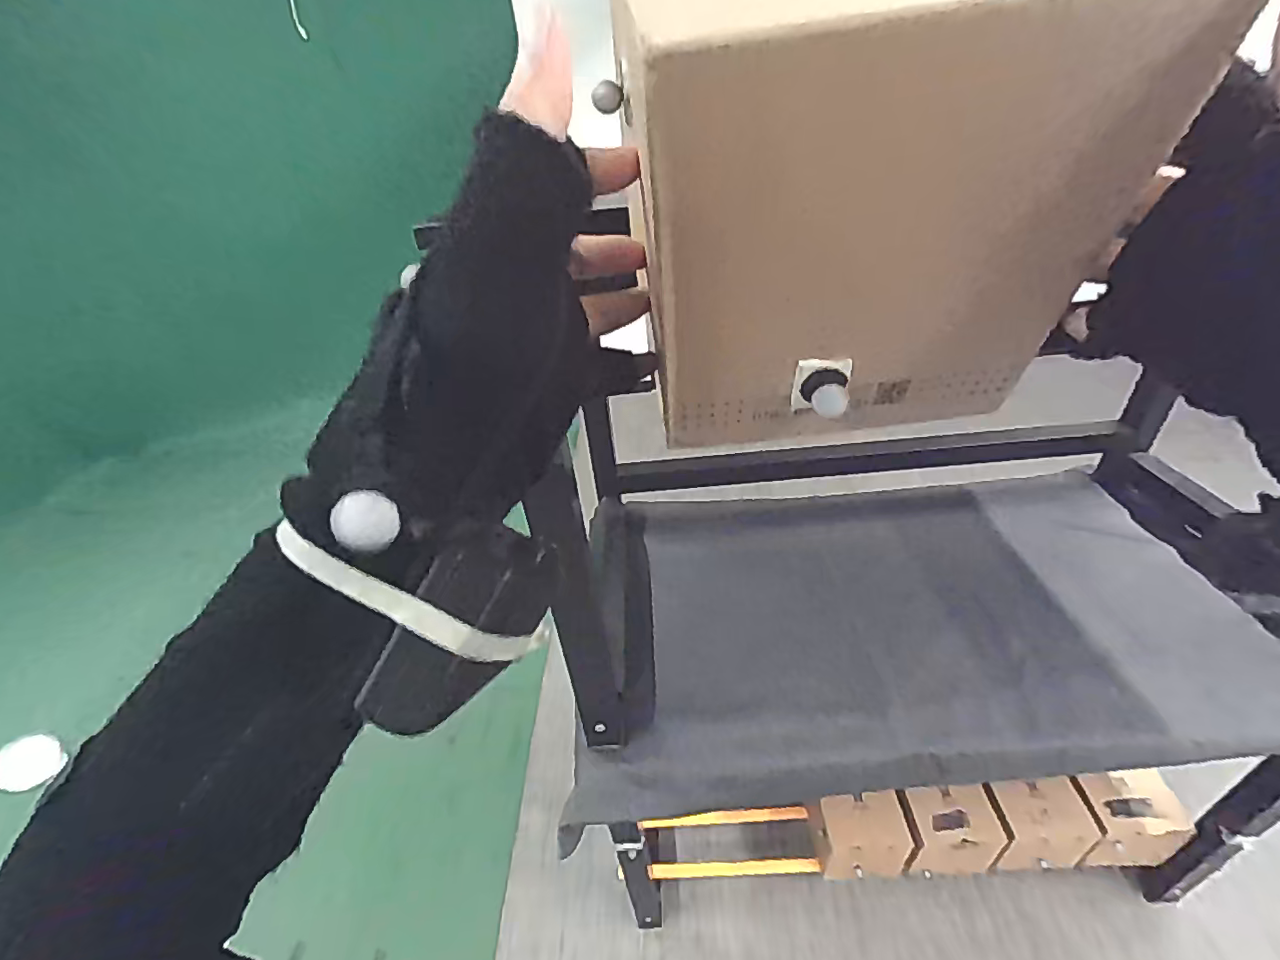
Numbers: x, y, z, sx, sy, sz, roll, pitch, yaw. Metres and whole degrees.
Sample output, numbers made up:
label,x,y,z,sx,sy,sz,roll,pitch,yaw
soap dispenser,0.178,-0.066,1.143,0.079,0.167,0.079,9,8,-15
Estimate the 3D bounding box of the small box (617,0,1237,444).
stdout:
label,x,y,z,sx,sy,sz,roll,pitch,yaw
small box,0.080,-0.142,0.256,0.168,0.176,0.179,-8,53,1
